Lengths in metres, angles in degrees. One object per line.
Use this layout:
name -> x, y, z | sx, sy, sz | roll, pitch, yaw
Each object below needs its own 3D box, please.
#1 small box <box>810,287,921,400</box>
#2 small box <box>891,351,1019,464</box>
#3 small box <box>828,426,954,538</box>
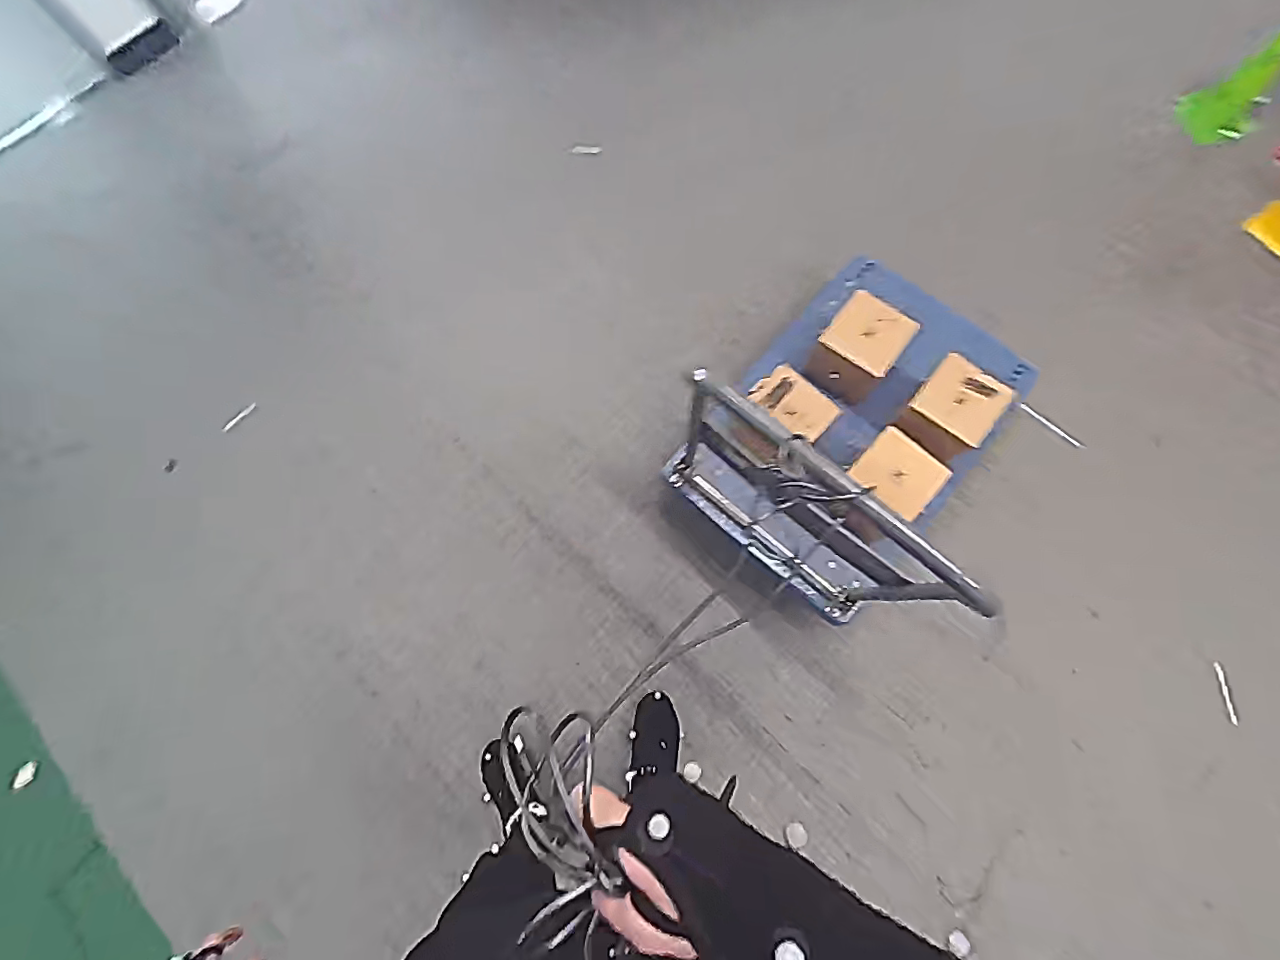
small box -> 0.543, -0.328, 1.335 | 0.168, 0.176, 0.179 | 37, 79, 10
small box -> 0.734, -0.164, 1.283 | 0.168, 0.176, 0.179 | 39, 81, 12
small box -> 0.565, 0.011, 1.244 | 0.168, 0.176, 0.179 | 42, 81, 12
